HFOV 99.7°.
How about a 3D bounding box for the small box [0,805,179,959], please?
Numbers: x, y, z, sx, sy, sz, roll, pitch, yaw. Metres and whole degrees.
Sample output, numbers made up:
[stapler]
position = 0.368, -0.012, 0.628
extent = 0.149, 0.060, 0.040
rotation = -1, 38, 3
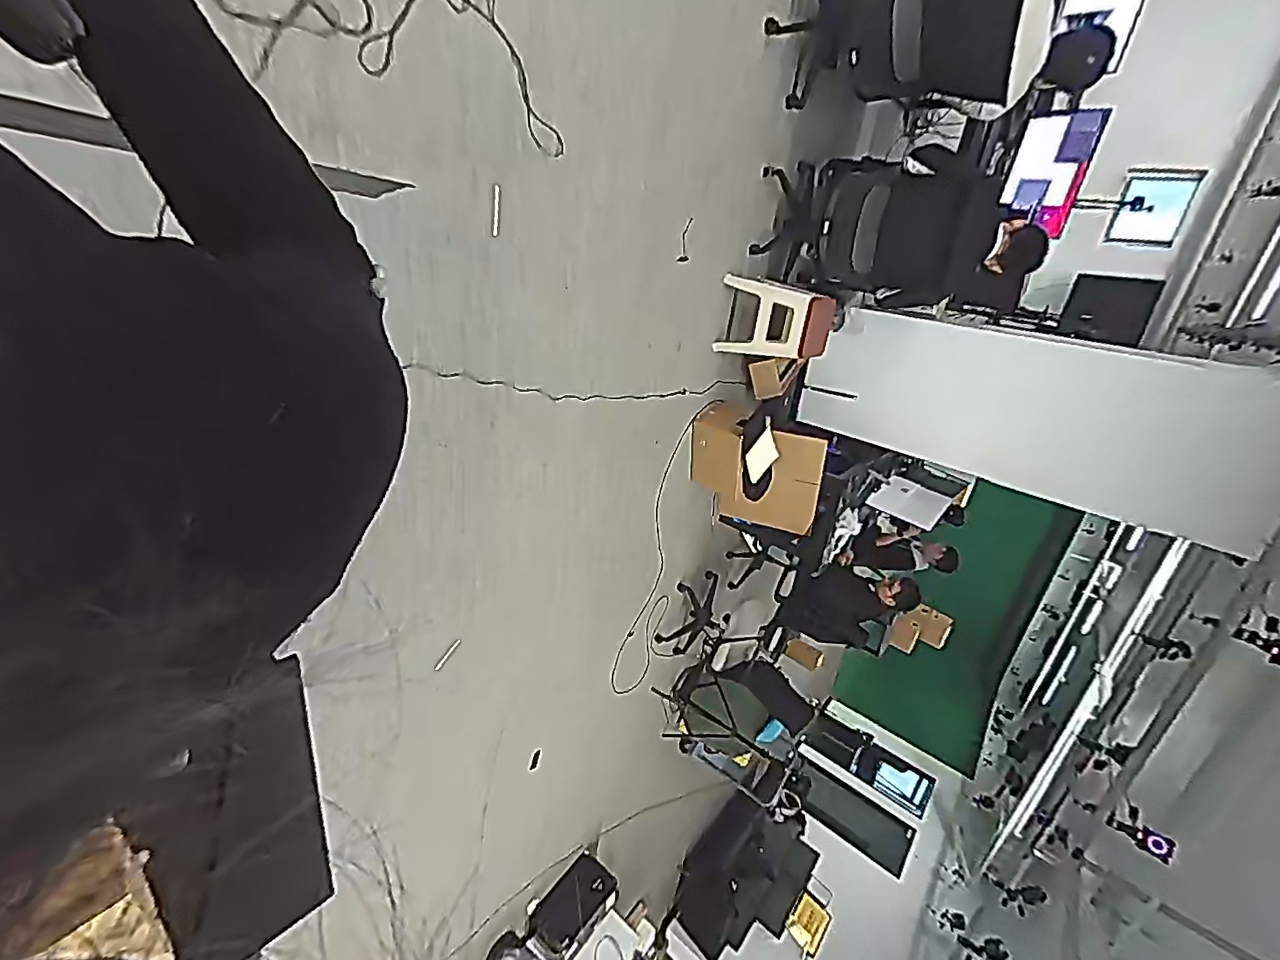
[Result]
[small box]
position = -0.692, 0.539, 0.632
extent = 0.179, 0.176, 0.168
rotation = -26, 130, -46
